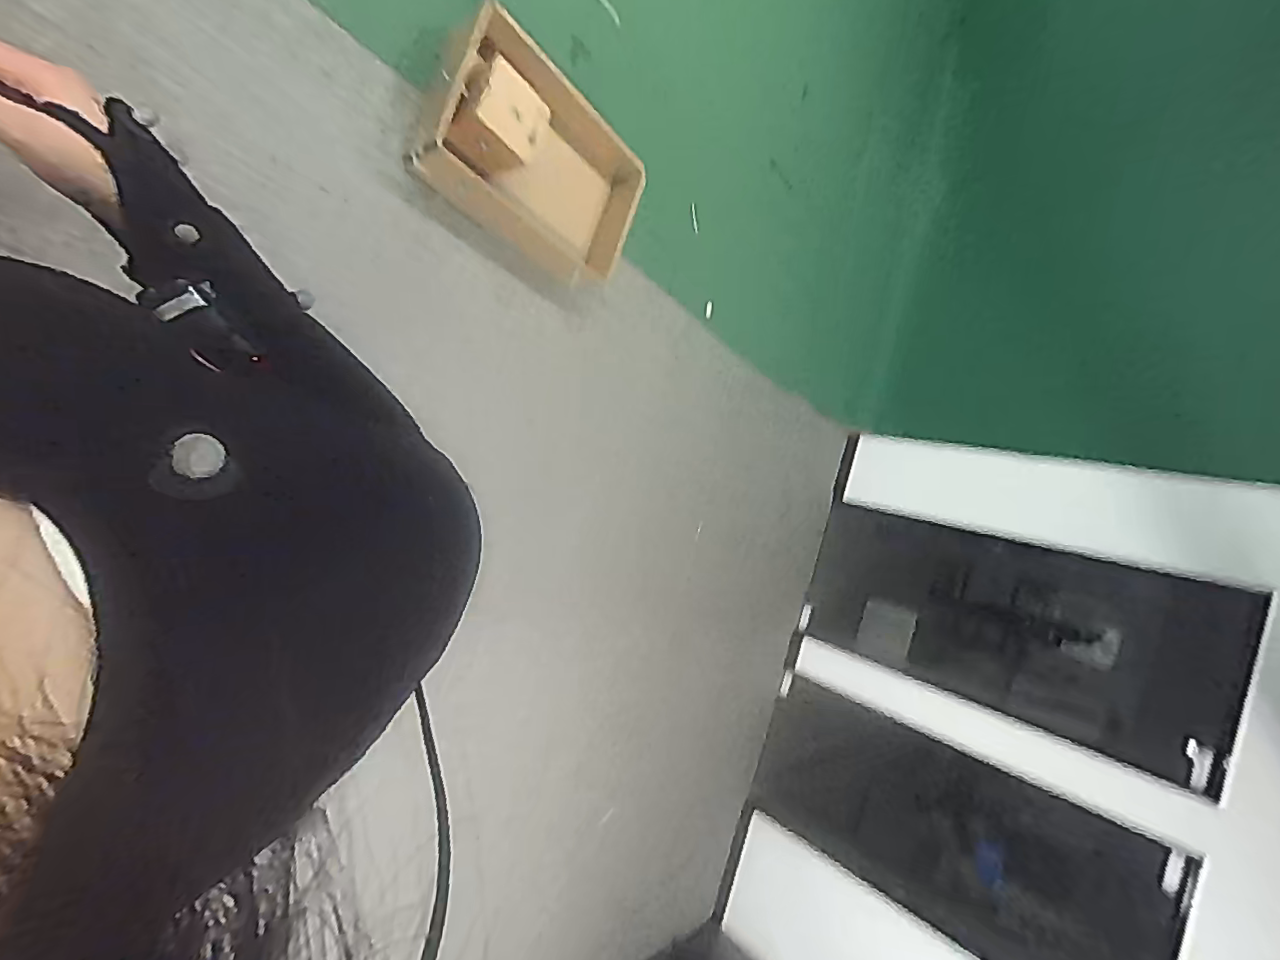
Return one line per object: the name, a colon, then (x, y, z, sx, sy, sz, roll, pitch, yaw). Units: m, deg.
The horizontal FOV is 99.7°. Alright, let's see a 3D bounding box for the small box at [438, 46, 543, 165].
small box: (-0.387, -0.945, 1.388, 0.179, 0.176, 0.168, 24, 84, -48)
